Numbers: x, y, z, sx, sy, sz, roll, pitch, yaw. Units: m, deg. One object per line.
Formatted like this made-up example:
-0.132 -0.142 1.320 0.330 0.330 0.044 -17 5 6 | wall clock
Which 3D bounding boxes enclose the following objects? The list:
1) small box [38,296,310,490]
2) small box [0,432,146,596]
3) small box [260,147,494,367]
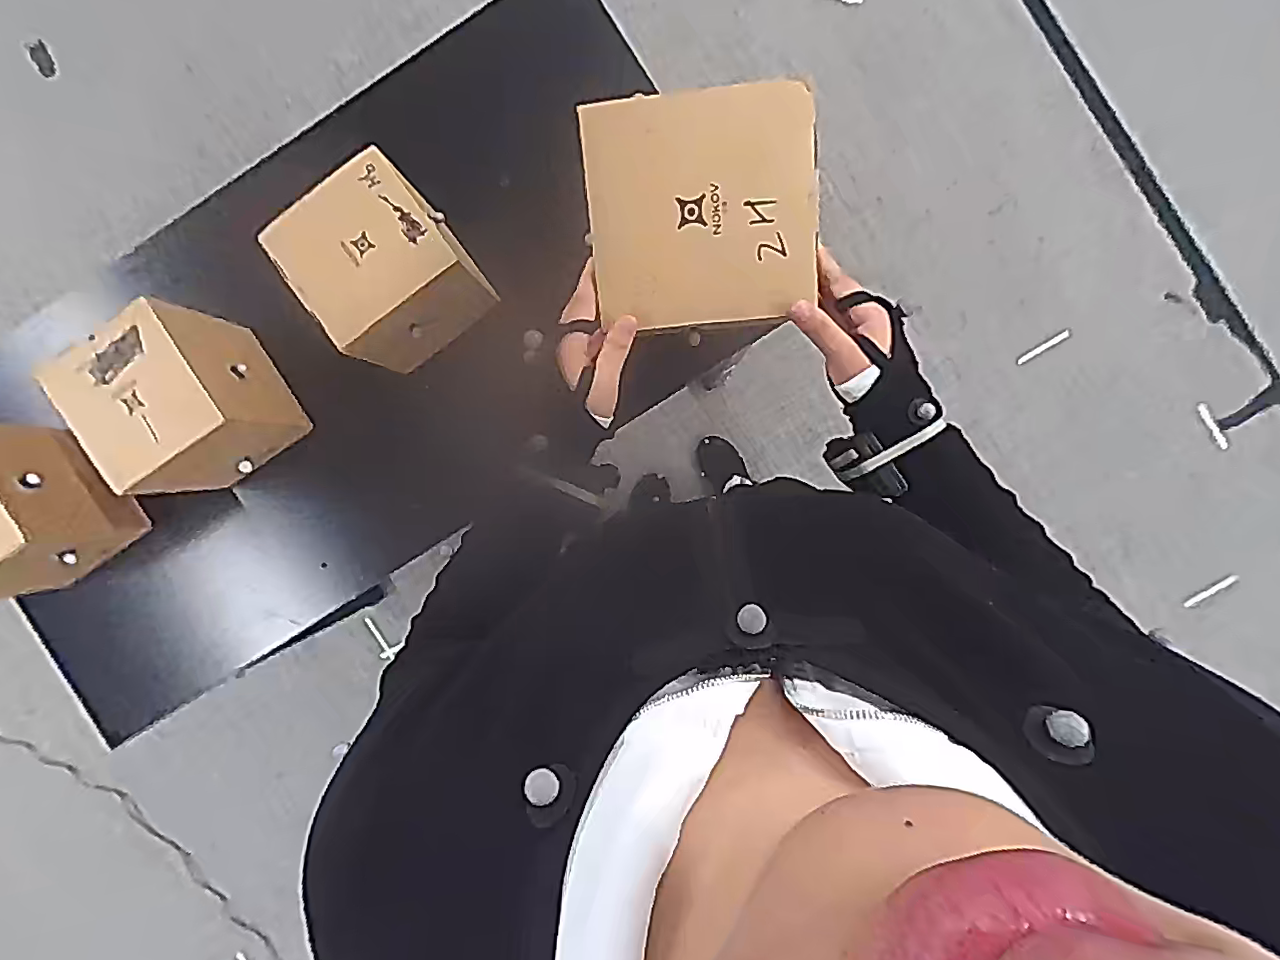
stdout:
-0.593 -0.103 0.713 0.168 0.176 0.179 -33 91 3 | small box
-0.839 0.043 0.727 0.168 0.176 0.179 -34 90 1 | small box
-0.321 -0.268 0.699 0.179 0.176 0.168 -36 90 3 | small box
